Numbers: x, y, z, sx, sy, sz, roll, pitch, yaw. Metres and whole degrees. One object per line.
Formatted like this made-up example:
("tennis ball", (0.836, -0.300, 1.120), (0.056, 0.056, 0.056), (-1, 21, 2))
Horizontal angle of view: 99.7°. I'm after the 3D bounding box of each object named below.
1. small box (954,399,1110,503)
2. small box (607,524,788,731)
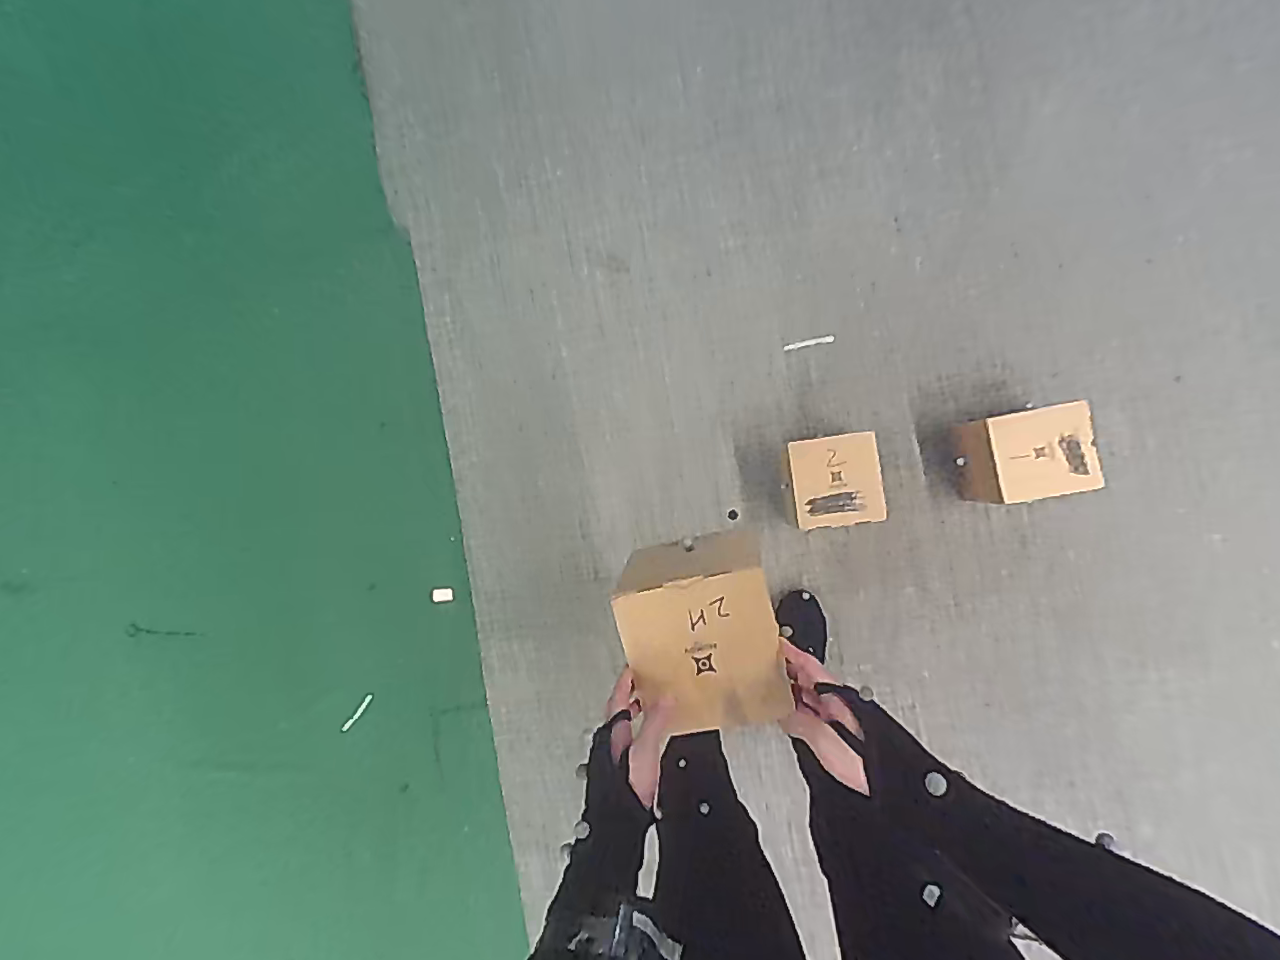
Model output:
("small box", (0.749, -0.054, 1.051), (0.179, 0.176, 0.168), (-11, 89, 8))
("small box", (0.074, 0.169, 0.657), (0.168, 0.176, 0.179), (-13, 97, 10))
